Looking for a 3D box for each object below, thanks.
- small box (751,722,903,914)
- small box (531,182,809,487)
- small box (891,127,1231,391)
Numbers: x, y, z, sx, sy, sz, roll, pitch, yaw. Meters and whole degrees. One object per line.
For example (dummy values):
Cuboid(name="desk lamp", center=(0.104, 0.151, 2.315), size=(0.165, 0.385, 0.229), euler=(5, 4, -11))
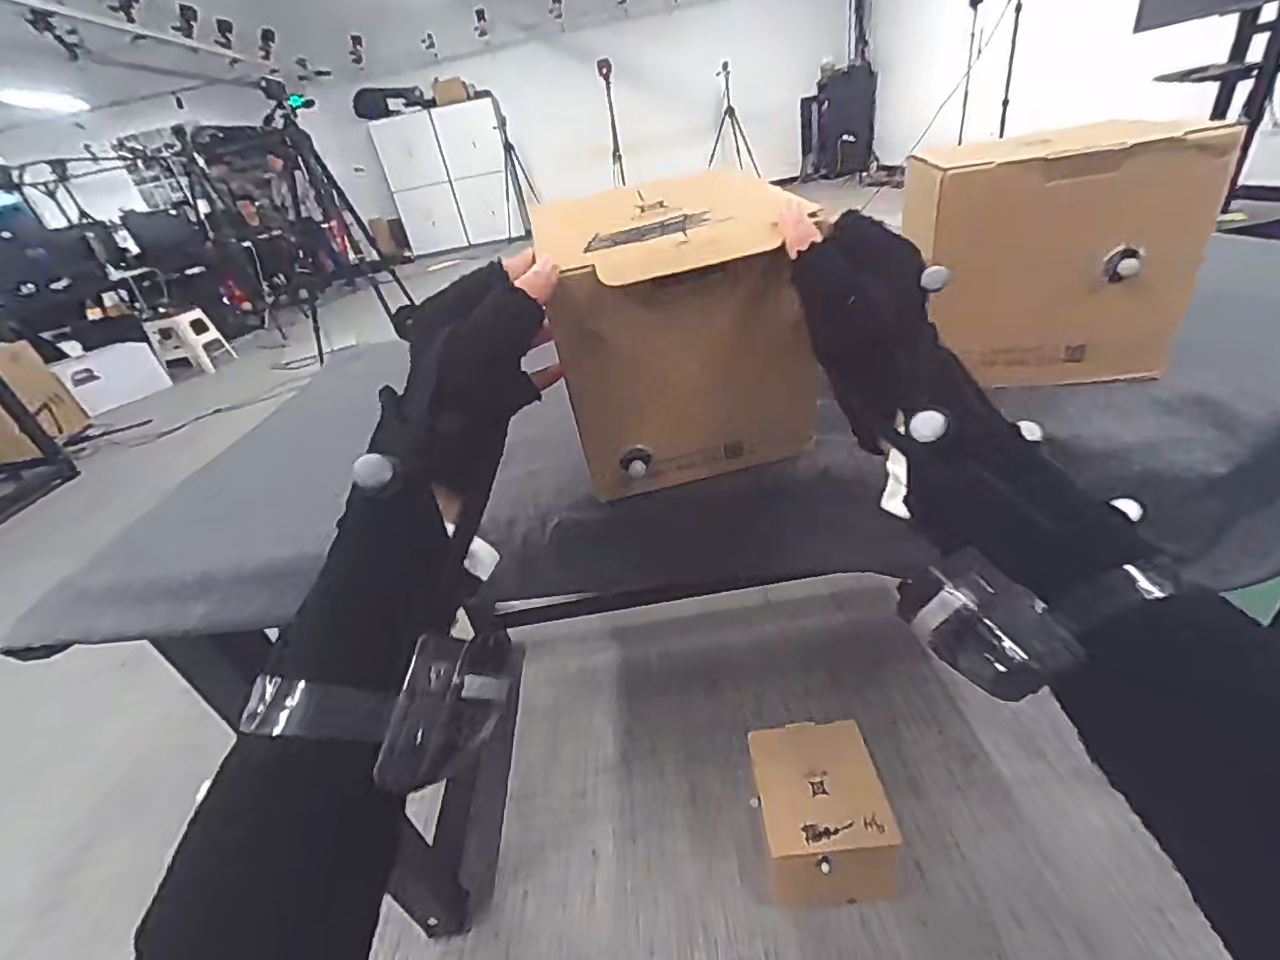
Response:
Cuboid(name="small box", center=(0.263, 0.490, 0.791), size=(0.168, 0.176, 0.179), euler=(-10, 30, 5))
Cuboid(name="small box", center=(0.019, -0.110, 0.417), size=(0.168, 0.176, 0.179), euler=(-13, 36, -2))
Cuboid(name="small box", center=(0.315, -0.180, 0.455), size=(0.168, 0.176, 0.179), euler=(0, 31, 17))
